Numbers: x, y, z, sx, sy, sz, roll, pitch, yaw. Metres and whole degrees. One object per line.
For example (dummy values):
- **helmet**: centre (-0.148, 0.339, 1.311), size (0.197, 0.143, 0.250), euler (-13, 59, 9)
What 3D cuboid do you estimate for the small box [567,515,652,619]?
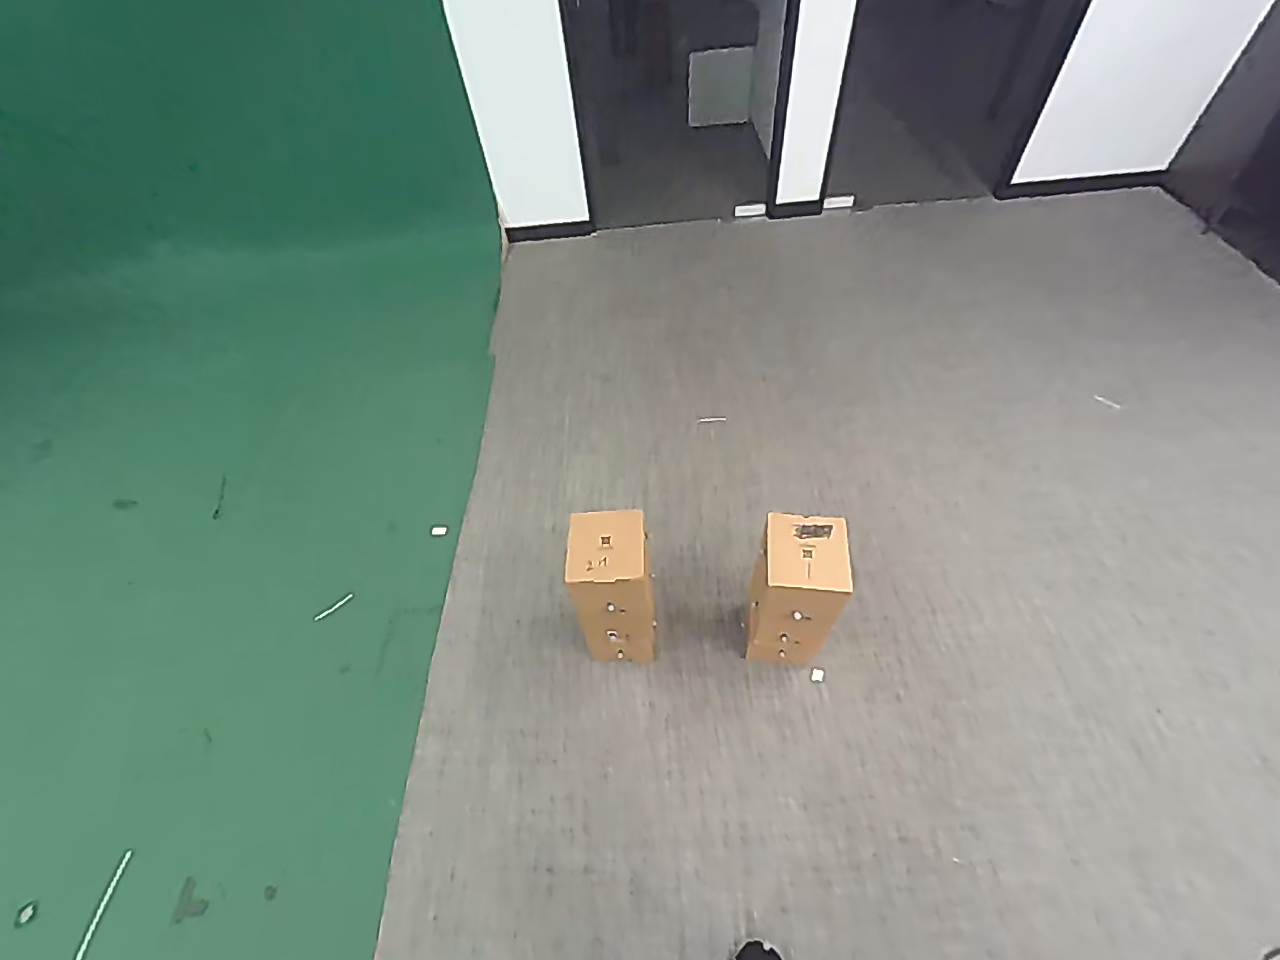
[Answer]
- **small box**: centre (-0.062, 0.198, 1.220), size (0.168, 0.176, 0.179), euler (-3, 52, 4)

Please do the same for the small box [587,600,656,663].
- **small box**: centre (-0.043, 0.392, 1.483), size (0.168, 0.176, 0.179), euler (0, 53, 5)

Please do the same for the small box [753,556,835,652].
- **small box**: centre (0.365, 0.299, 1.314), size (0.168, 0.176, 0.179), euler (3, 54, 7)

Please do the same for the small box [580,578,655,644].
- **small box**: centre (-0.052, 0.295, 1.353), size (0.168, 0.176, 0.179), euler (-3, 54, 4)

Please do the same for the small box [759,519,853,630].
- **small box**: centre (0.353, 0.207, 1.178), size (0.168, 0.176, 0.179), euler (4, 55, 8)
